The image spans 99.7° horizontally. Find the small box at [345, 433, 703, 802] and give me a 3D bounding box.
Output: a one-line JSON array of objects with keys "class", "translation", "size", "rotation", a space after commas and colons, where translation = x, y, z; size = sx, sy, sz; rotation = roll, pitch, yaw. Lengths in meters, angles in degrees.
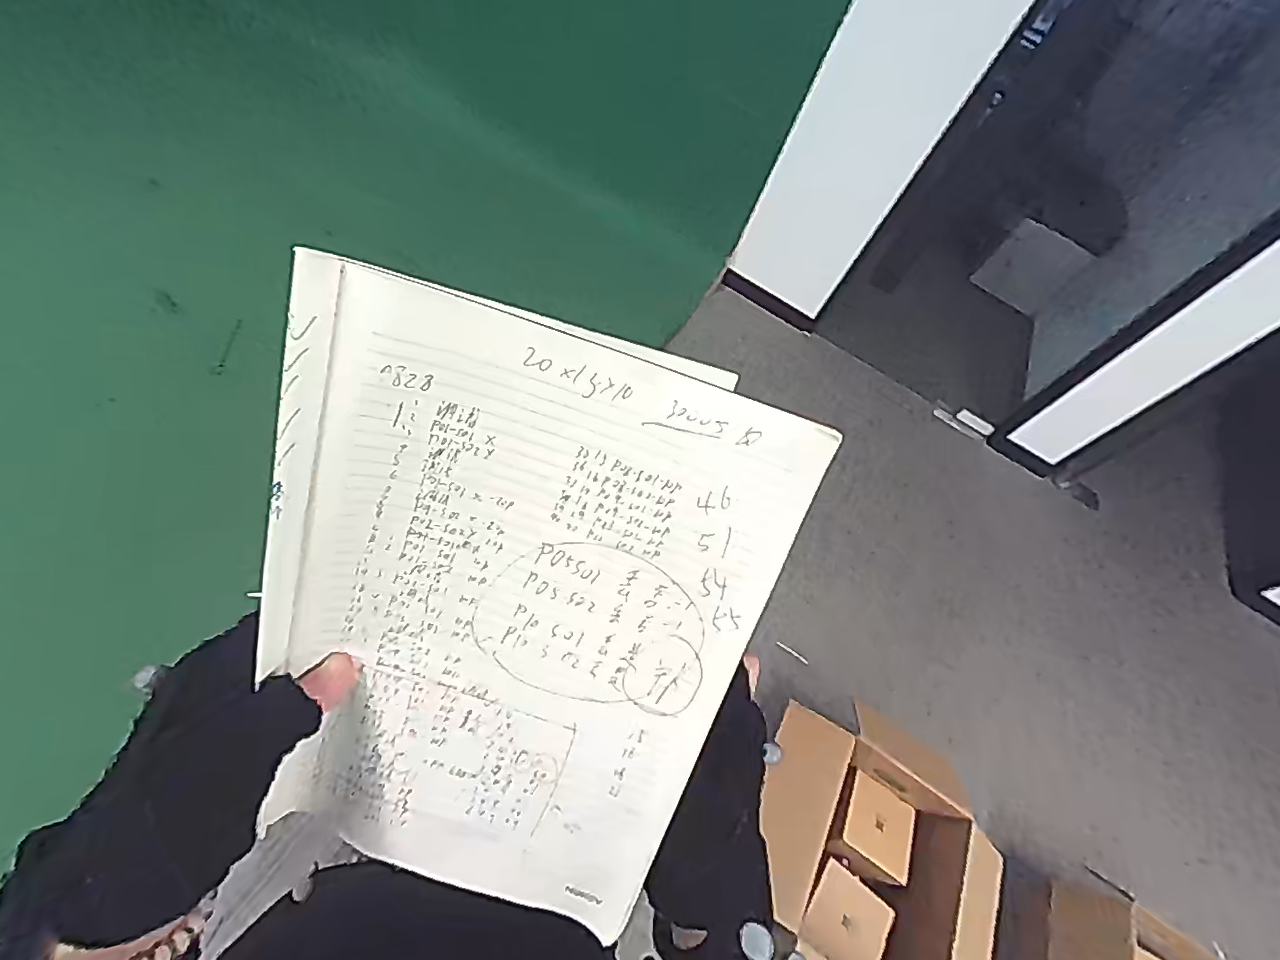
[{"class": "small box", "translation": [-0.063, 0.078, 0.363], "size": [0.168, 0.176, 0.179], "rotation": [8, 85, -3]}]
